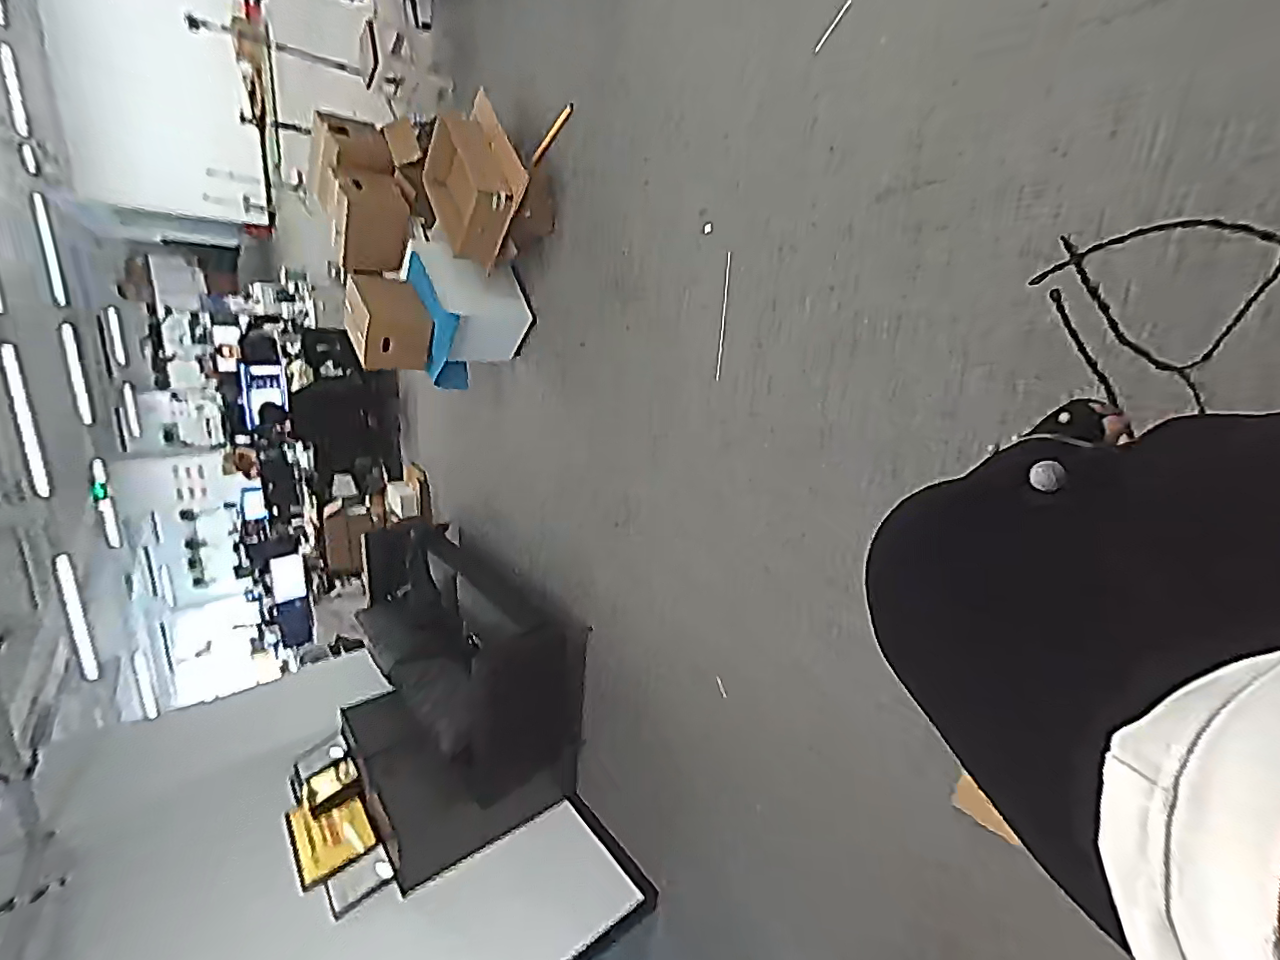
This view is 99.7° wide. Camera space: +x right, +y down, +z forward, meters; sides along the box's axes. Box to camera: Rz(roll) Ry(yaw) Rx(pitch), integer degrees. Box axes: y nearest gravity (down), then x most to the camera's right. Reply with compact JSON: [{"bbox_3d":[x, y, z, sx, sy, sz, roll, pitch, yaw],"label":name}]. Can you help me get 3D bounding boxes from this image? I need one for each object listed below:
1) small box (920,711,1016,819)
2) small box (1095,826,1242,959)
[{"bbox_3d":[0.922,0.786,1.514,0.168,0.176,0.179,24,117,44],"label":"small box"},{"bbox_3d":[1.194,0.932,1.225,0.168,0.176,0.179,47,131,34],"label":"small box"}]
